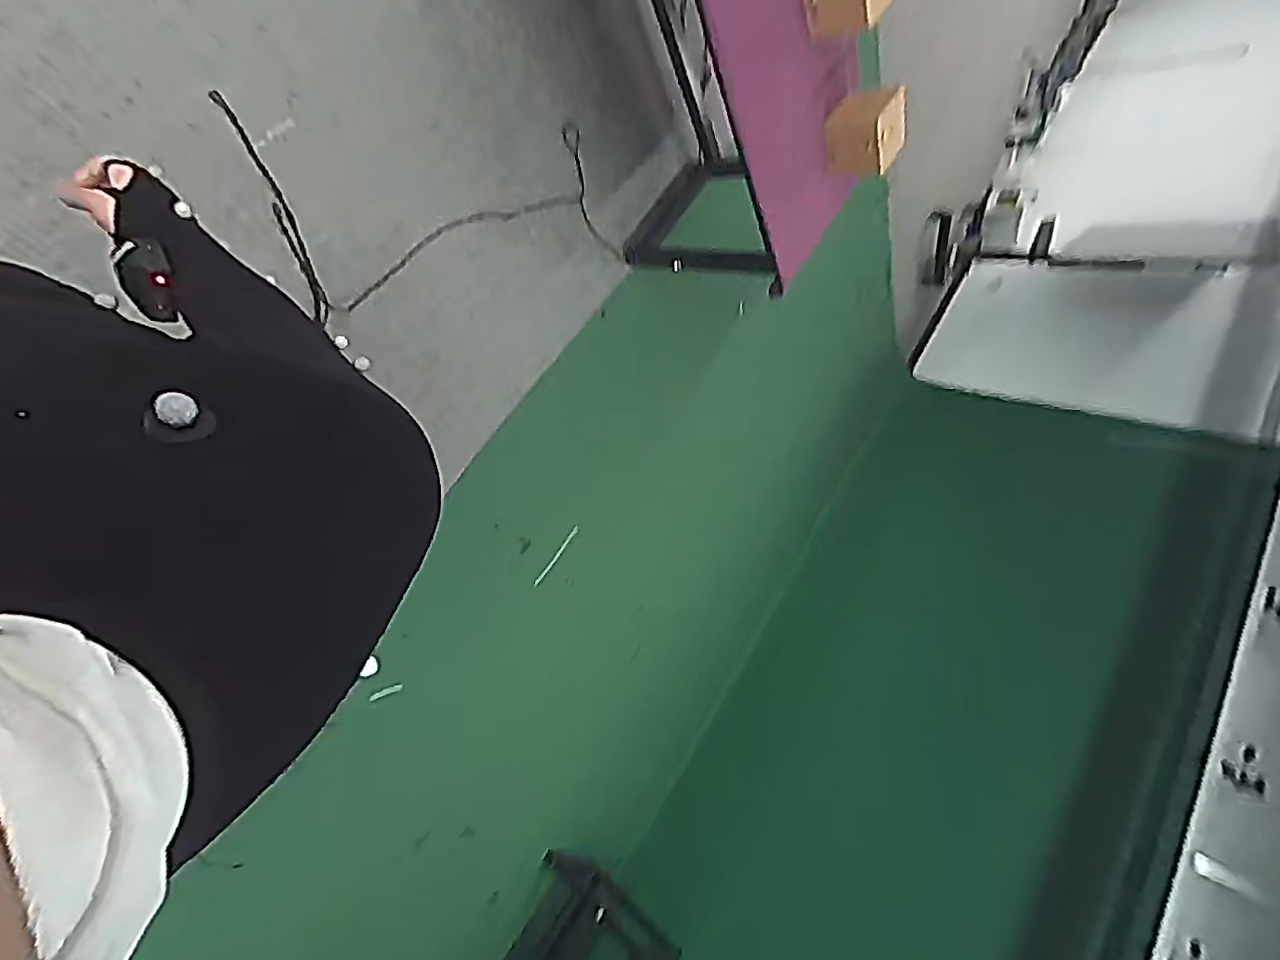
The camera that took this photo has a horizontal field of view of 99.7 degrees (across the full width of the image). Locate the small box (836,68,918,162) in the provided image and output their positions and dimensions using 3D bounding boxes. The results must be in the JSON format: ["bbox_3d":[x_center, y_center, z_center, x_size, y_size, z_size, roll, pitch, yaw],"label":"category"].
[{"bbox_3d":[0.712,-1.088,1.621,0.179,0.176,0.168,-54,139,-15],"label":"small box"}]

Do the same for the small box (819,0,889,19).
[{"bbox_3d":[0.550,-1.290,1.331,0.179,0.176,0.168,-55,140,-13],"label":"small box"}]
